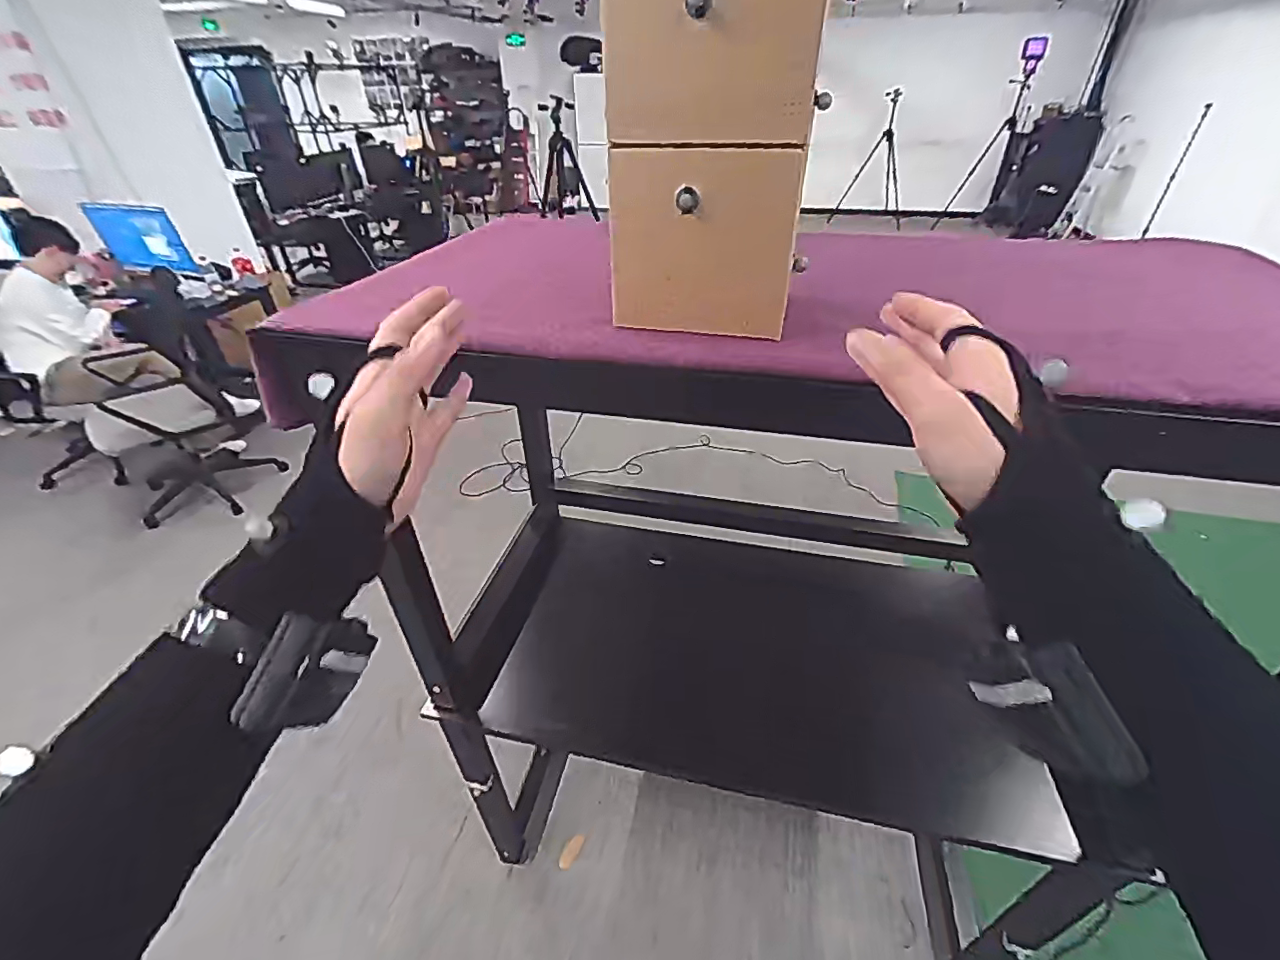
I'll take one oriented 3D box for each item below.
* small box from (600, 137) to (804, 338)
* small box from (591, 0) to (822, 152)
[{"bbox_3d":[0.071,-0.259,0.574,0.179,0.176,0.168,8,37,14],"label":"small box"},{"bbox_3d":[0.067,-0.393,0.479,0.179,0.176,0.168,7,36,14],"label":"small box"}]
